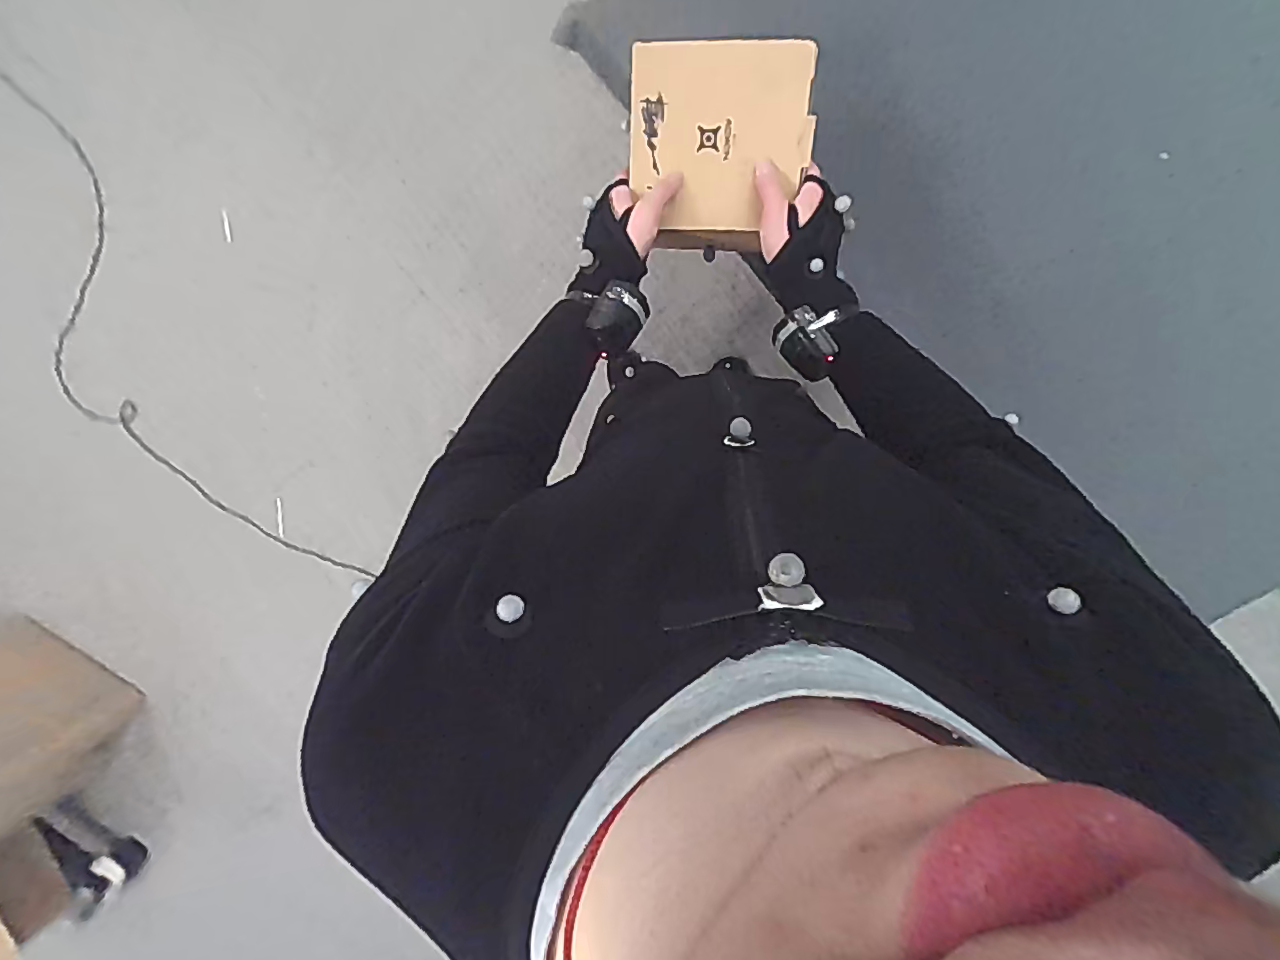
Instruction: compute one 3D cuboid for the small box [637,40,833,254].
[{"bbox_3d":[0.093,-0.351,0.602,0.179,0.176,0.168,4,107,3],"label":"small box"}]
